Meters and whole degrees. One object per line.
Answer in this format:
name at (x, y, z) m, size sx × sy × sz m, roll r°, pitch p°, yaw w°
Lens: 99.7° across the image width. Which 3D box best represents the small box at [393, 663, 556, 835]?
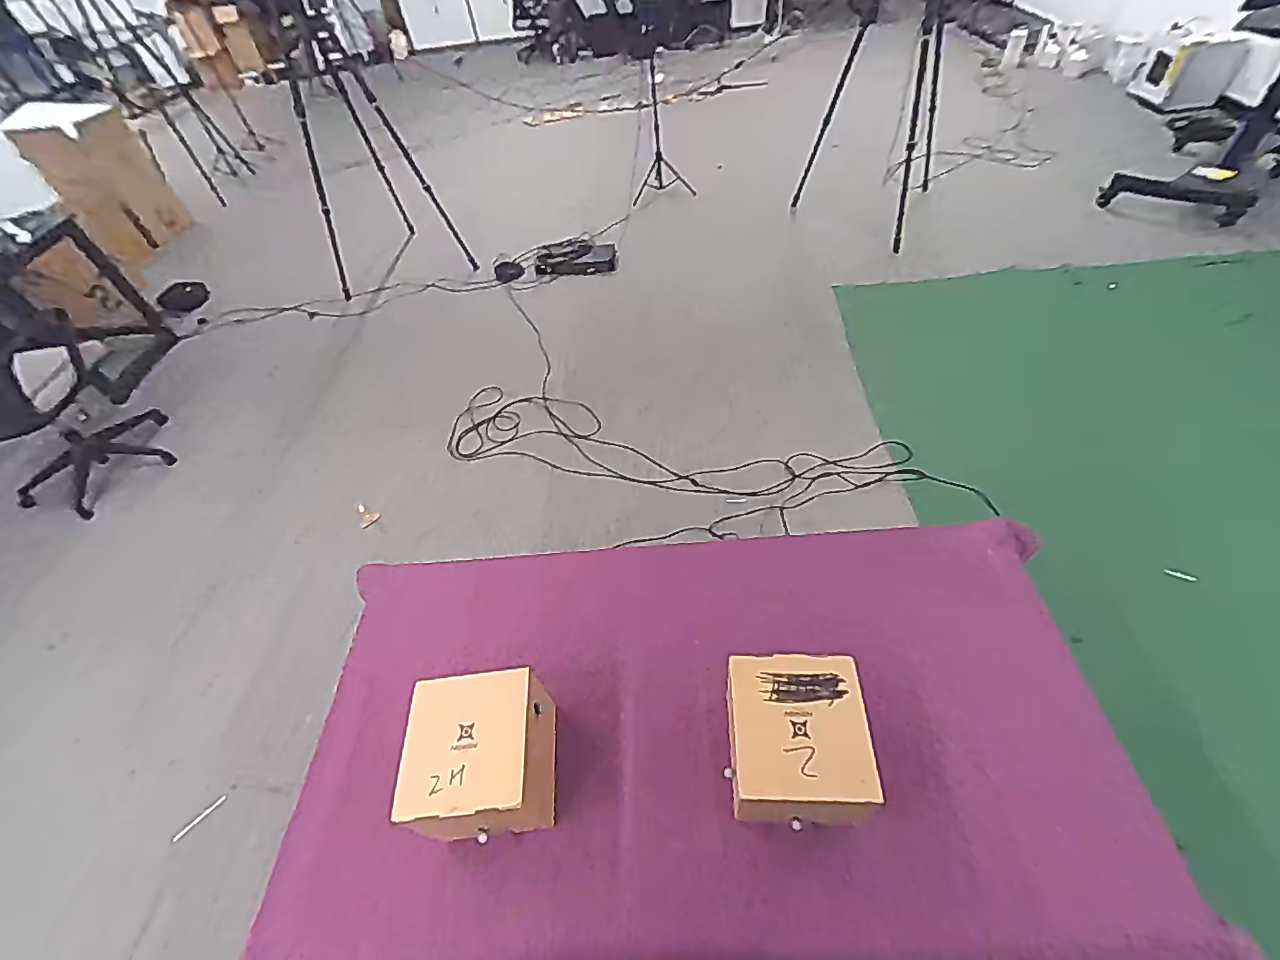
small box at (-0.220, 0.387, 0.776) m, size 0.168 × 0.176 × 0.179 m, roll -8°, pitch 49°, yaw 2°
